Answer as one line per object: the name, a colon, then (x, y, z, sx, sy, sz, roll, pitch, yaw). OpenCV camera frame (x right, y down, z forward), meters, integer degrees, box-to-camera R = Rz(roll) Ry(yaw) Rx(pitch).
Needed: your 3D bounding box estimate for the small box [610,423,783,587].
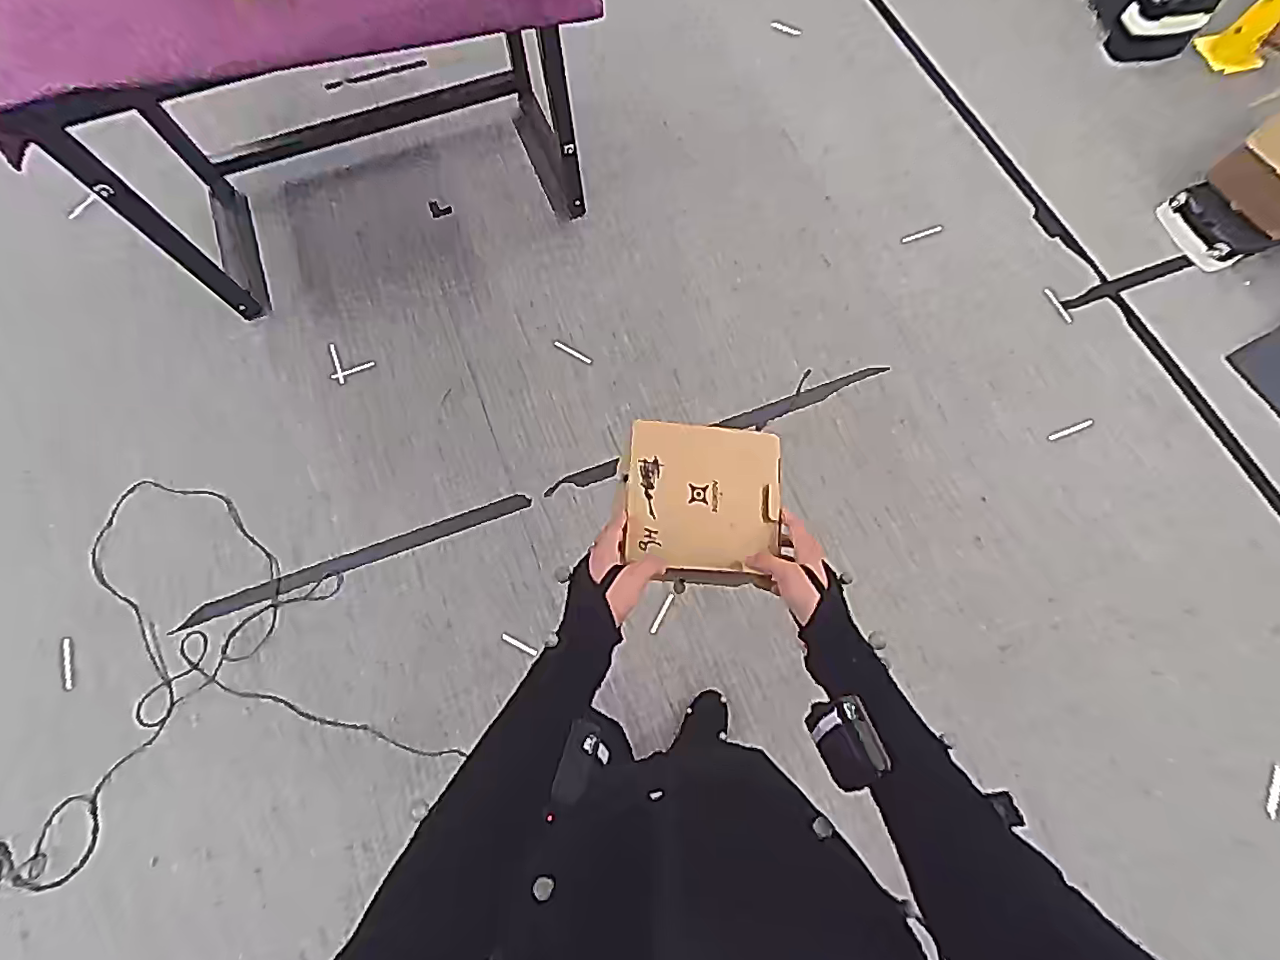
small box: (0.063, 0.042, 0.676, 0.179, 0.176, 0.168, 6, 74, -7)
